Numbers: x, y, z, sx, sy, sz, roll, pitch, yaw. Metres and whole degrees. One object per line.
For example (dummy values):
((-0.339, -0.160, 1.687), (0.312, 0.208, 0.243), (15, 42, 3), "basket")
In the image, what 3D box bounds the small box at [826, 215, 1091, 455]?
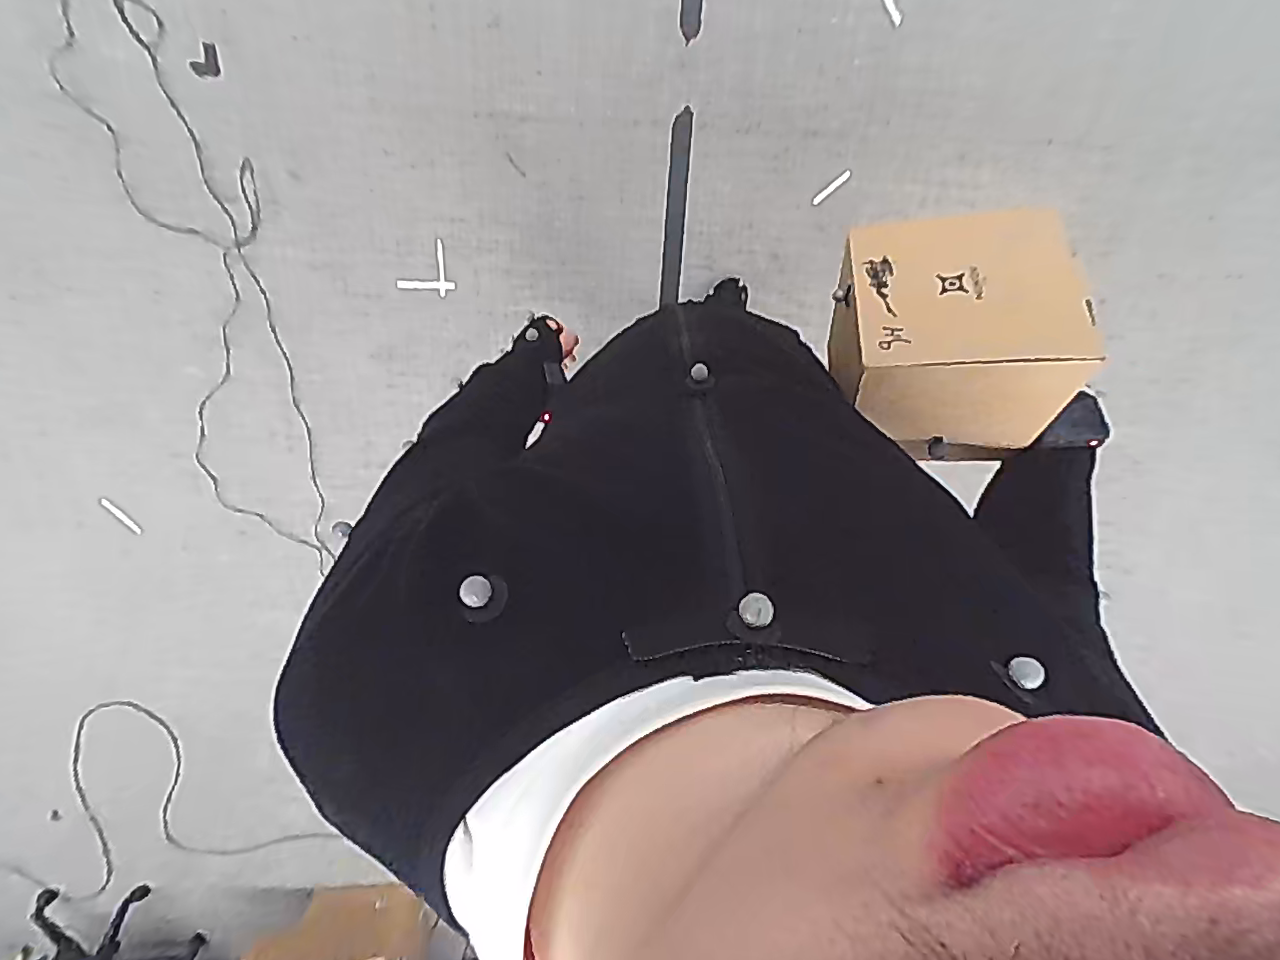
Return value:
((0.294, -0.135, 0.548), (0.179, 0.168, 0.176), (0, 154, 12), "small box")
